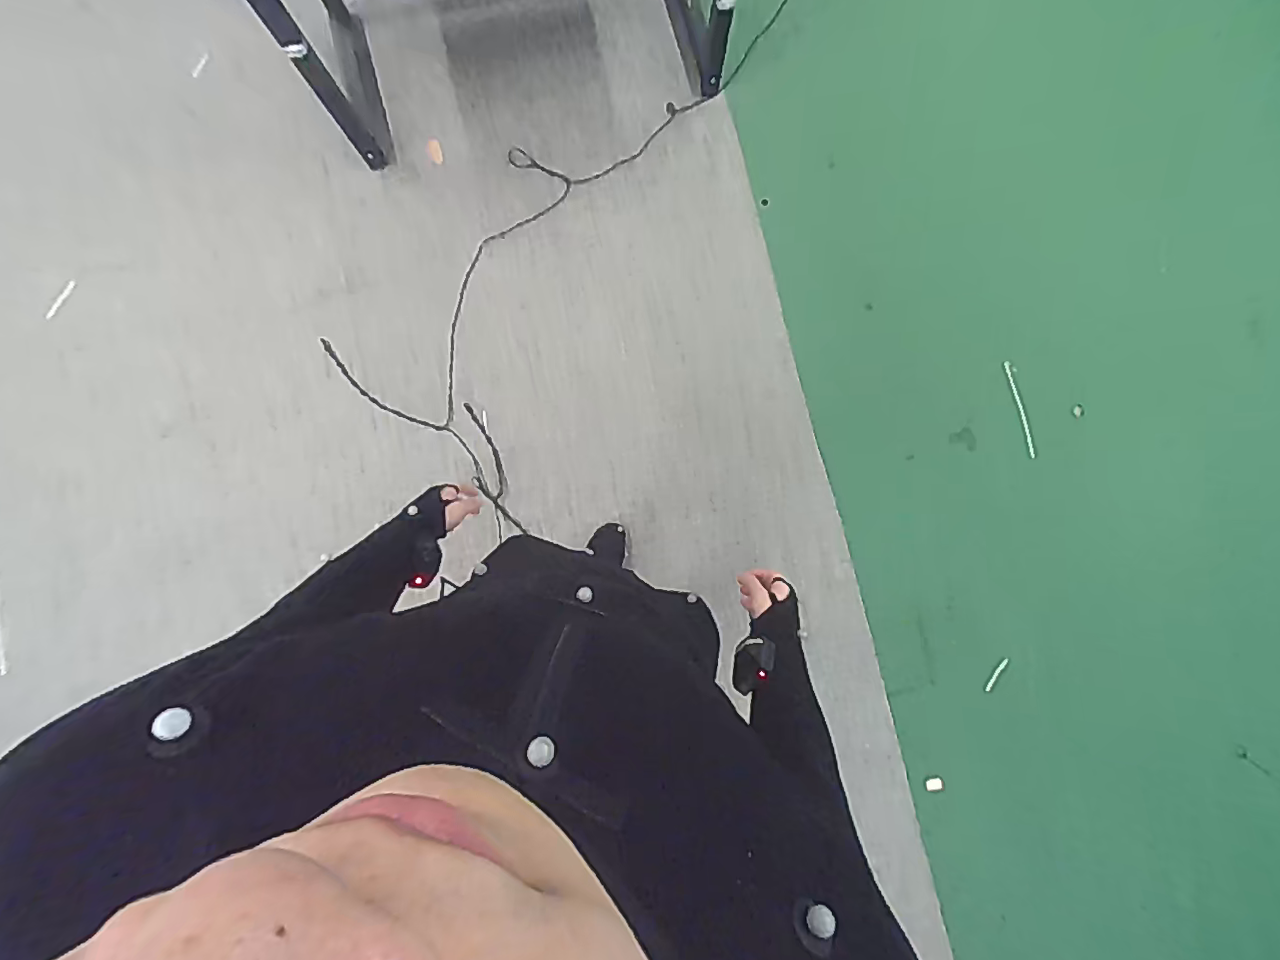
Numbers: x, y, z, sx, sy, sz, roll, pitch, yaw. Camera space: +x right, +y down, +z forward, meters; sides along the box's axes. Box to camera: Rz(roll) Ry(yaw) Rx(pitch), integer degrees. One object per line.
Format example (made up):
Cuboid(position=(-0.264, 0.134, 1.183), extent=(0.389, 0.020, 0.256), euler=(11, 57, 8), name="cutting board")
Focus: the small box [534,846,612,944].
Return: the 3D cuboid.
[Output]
Cuboid(position=(-0.171, 1.103, 1.423), extent=(0.179, 0.176, 0.168), euler=(-7, 85, -2), name="small box")
